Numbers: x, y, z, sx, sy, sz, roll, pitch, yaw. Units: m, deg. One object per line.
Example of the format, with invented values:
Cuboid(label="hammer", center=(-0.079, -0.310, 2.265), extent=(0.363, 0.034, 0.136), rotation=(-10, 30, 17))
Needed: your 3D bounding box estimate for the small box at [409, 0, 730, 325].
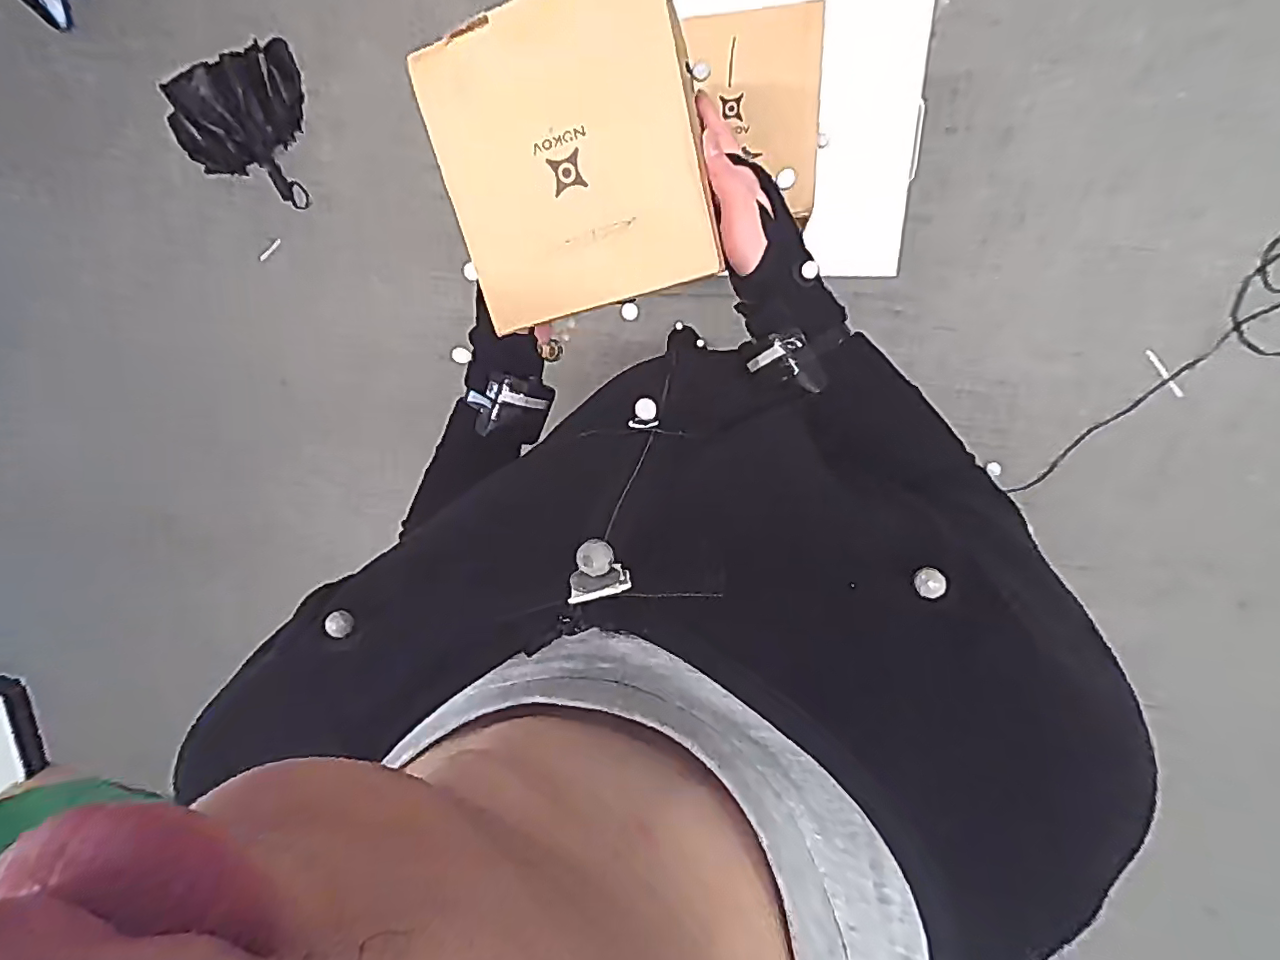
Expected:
Cuboid(label="small box", center=(-0.030, -0.231, 0.411), extent=(0.168, 0.176, 0.179), rotation=(-12, 109, 16))

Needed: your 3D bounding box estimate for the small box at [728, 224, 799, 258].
Cuboid(label="small box", center=(0.130, -0.408, 0.741), extent=(0.168, 0.176, 0.179), rotation=(1, 105, 12))

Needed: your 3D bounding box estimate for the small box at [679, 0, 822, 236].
Cuboid(label="small box", center=(0.097, -0.366, 0.583), extent=(0.168, 0.176, 0.179), rotation=(1, 104, 11))
